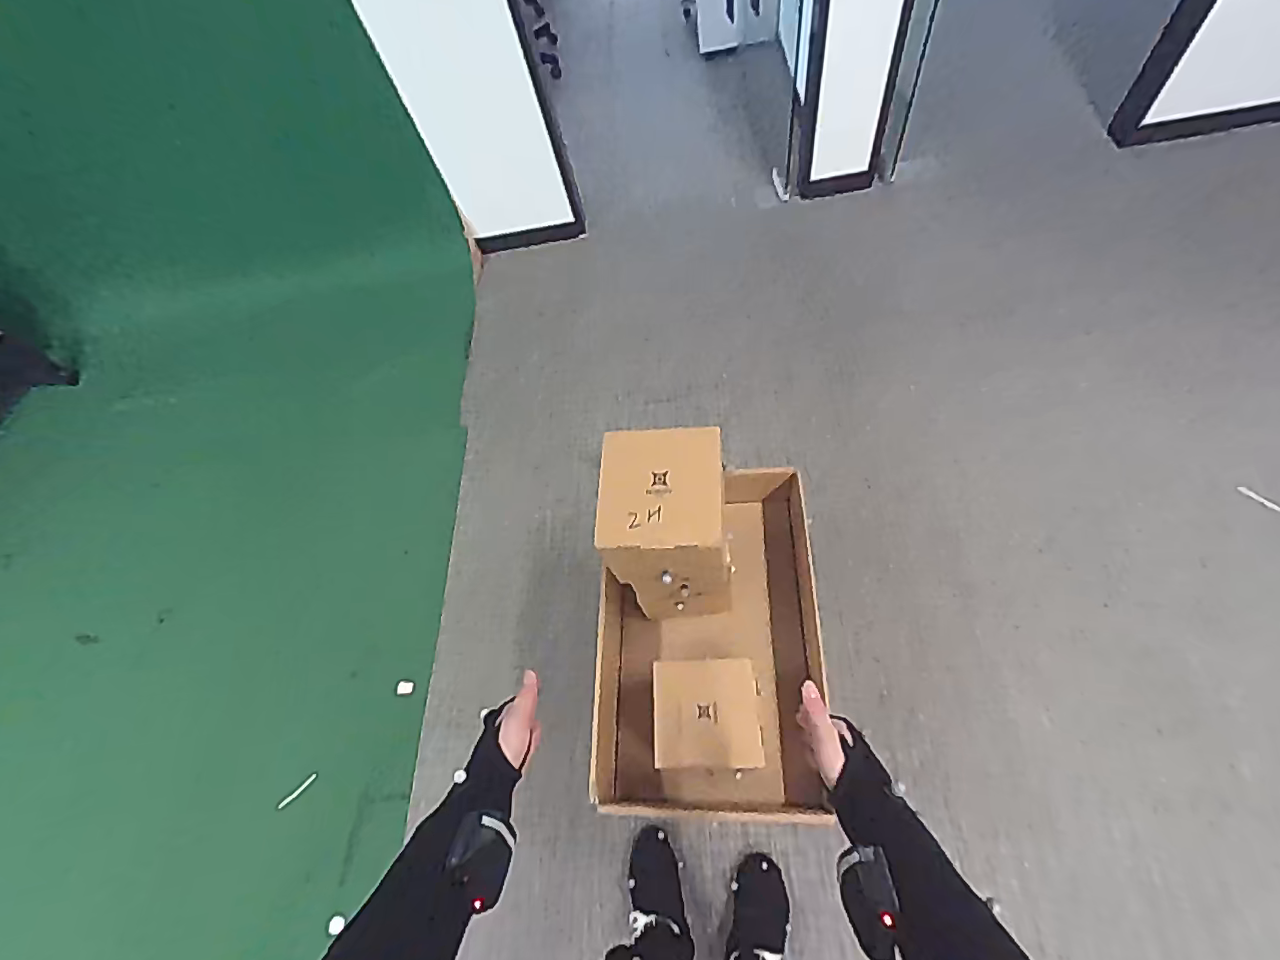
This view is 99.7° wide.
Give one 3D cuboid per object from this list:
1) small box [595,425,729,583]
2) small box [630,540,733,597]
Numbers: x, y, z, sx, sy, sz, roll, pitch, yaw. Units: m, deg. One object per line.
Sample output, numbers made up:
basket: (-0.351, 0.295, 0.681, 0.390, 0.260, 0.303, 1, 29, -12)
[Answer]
small box: (0.040, 0.040, 0.781, 0.168, 0.176, 0.179, -2, 64, 11)
small box: (0.068, 0.098, 0.934, 0.168, 0.176, 0.179, -8, 63, 6)
